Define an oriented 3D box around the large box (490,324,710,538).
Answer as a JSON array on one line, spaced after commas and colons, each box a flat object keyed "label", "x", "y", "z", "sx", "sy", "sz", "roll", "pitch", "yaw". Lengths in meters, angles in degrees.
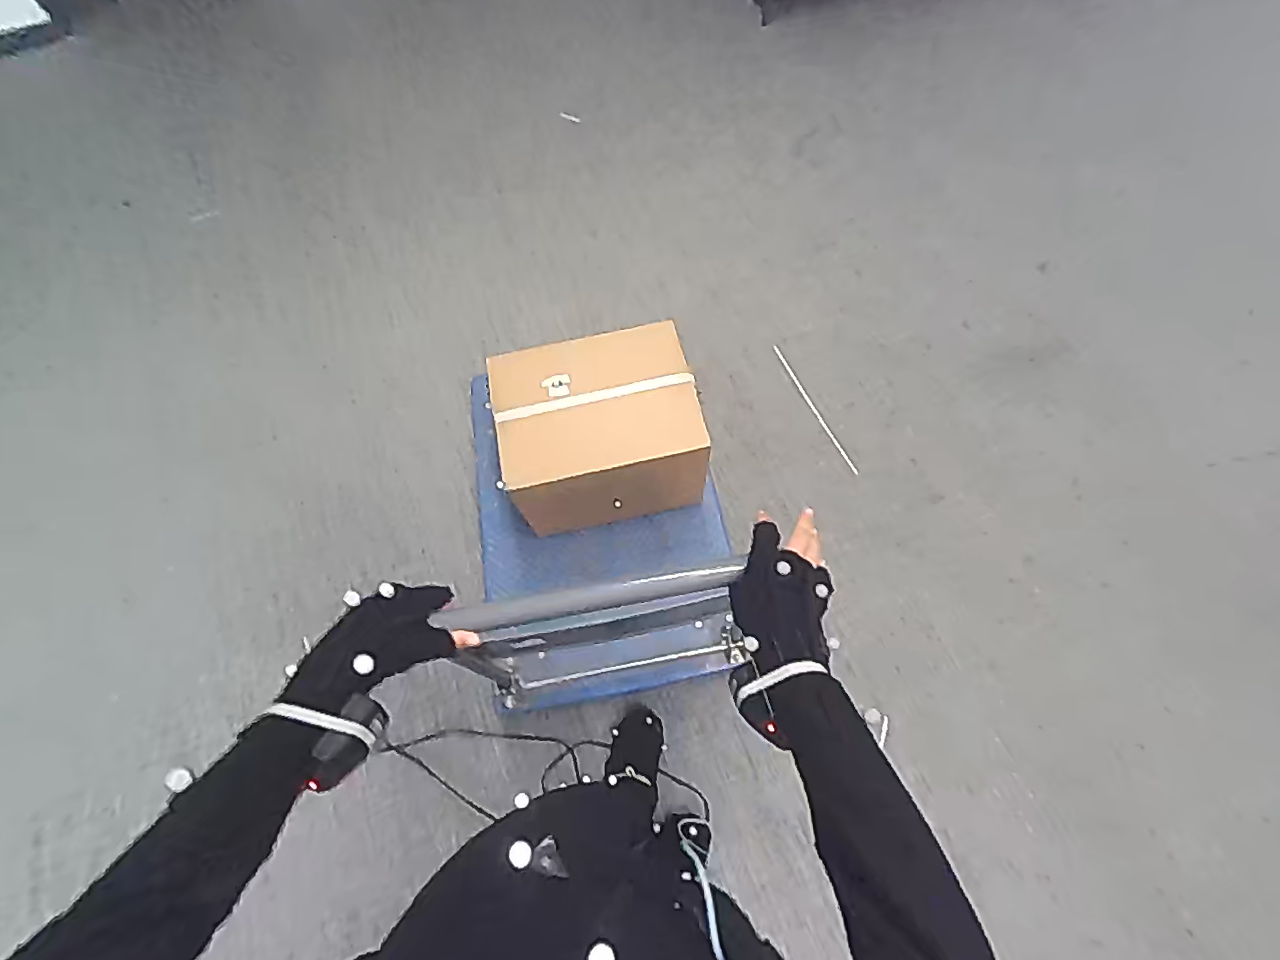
[{"label": "large box", "x": -0.082, "y": -0.095, "z": 1.225, "sx": 0.408, "sy": 0.320, "sz": 0.320, "roll": -13, "pitch": 66, "yaw": -2}]
